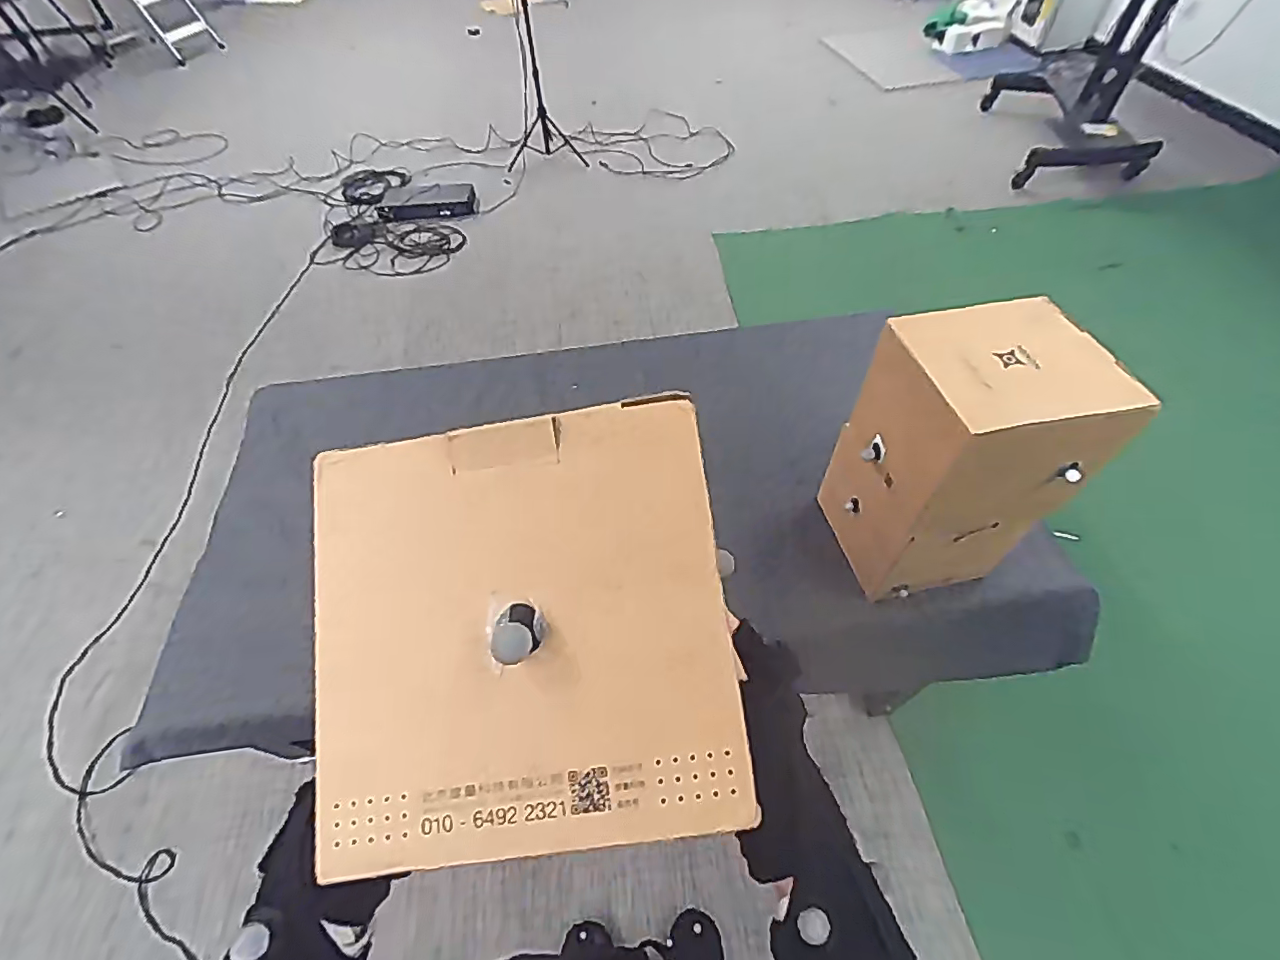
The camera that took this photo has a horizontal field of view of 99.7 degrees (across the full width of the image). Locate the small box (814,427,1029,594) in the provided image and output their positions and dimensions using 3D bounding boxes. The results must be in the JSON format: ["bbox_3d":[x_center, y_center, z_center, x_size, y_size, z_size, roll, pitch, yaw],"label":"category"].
[{"bbox_3d":[0.352,0.036,0.716,0.168,0.176,0.179,-11,52,-5],"label":"small box"}]

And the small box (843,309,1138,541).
[{"bbox_3d":[0.347,-0.055,0.582,0.179,0.176,0.168,-10,51,-3],"label":"small box"}]

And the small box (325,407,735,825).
[{"bbox_3d":[-0.047,0.075,0.307,0.168,0.179,0.176,-7,78,1],"label":"small box"}]
